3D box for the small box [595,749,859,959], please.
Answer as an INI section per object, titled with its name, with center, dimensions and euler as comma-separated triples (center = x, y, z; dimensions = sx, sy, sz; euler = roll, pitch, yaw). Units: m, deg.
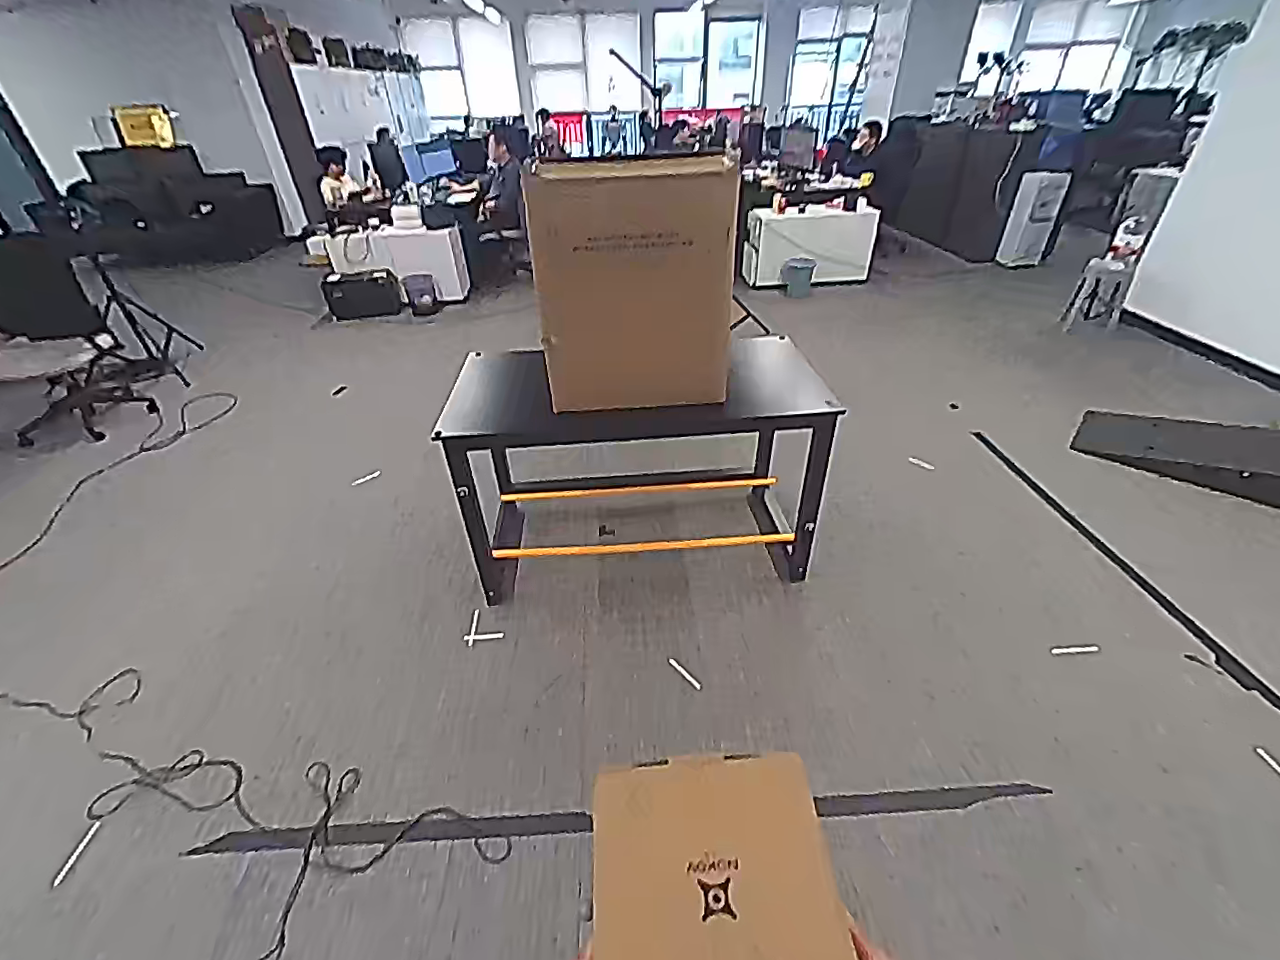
[small box]
center = 0.053, 0.336, 0.413
dimensions = 0.168, 0.176, 0.179
euler = -4, 39, -2
